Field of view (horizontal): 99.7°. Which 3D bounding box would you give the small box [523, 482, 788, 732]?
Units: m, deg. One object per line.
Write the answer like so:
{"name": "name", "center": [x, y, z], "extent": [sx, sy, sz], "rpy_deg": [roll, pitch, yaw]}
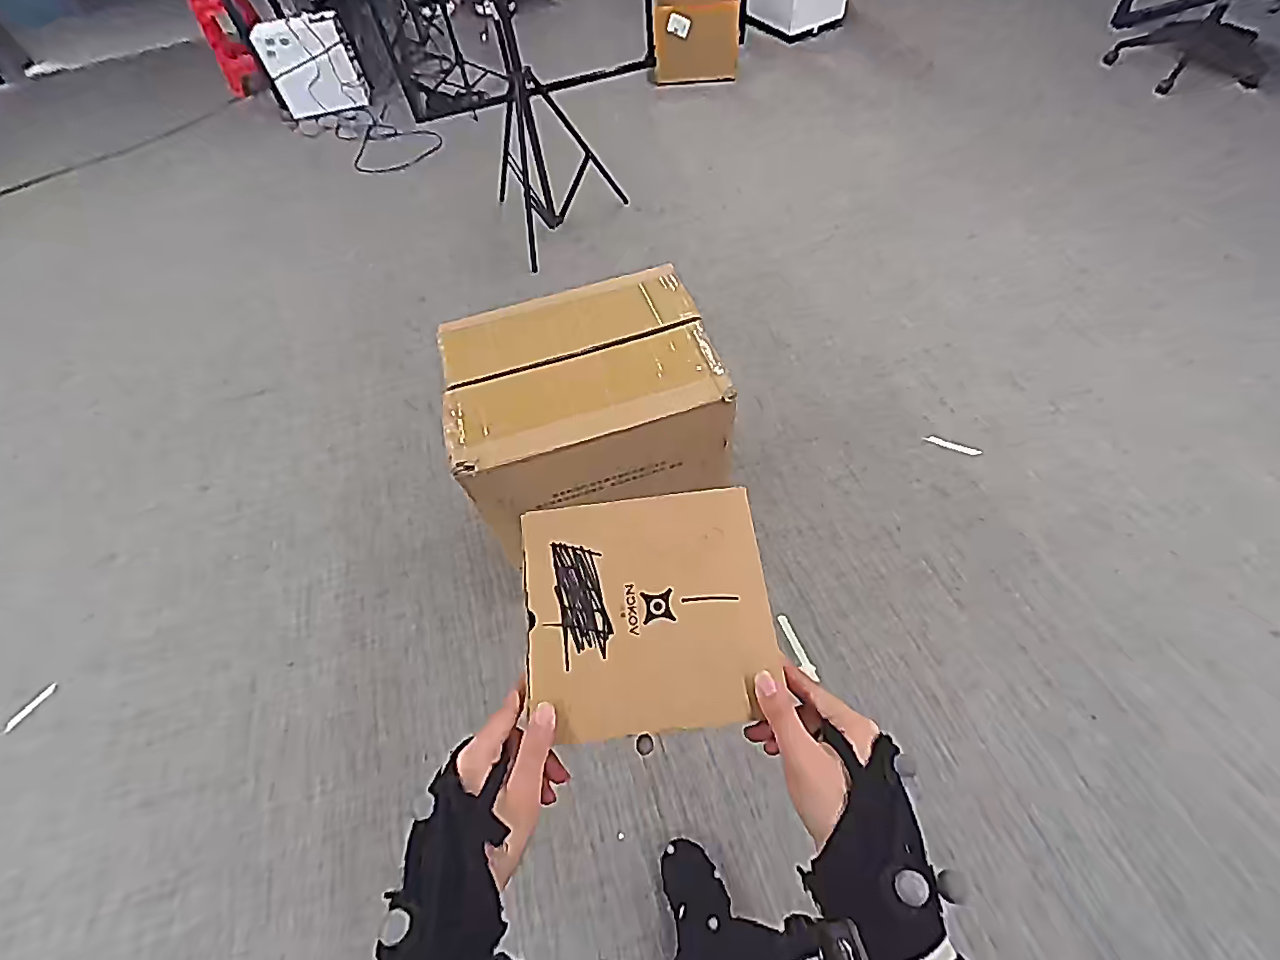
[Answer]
{"name": "small box", "center": [0.008, 0.117, 0.459], "extent": [0.179, 0.176, 0.168], "rpy_deg": [-7, 66, -1]}
